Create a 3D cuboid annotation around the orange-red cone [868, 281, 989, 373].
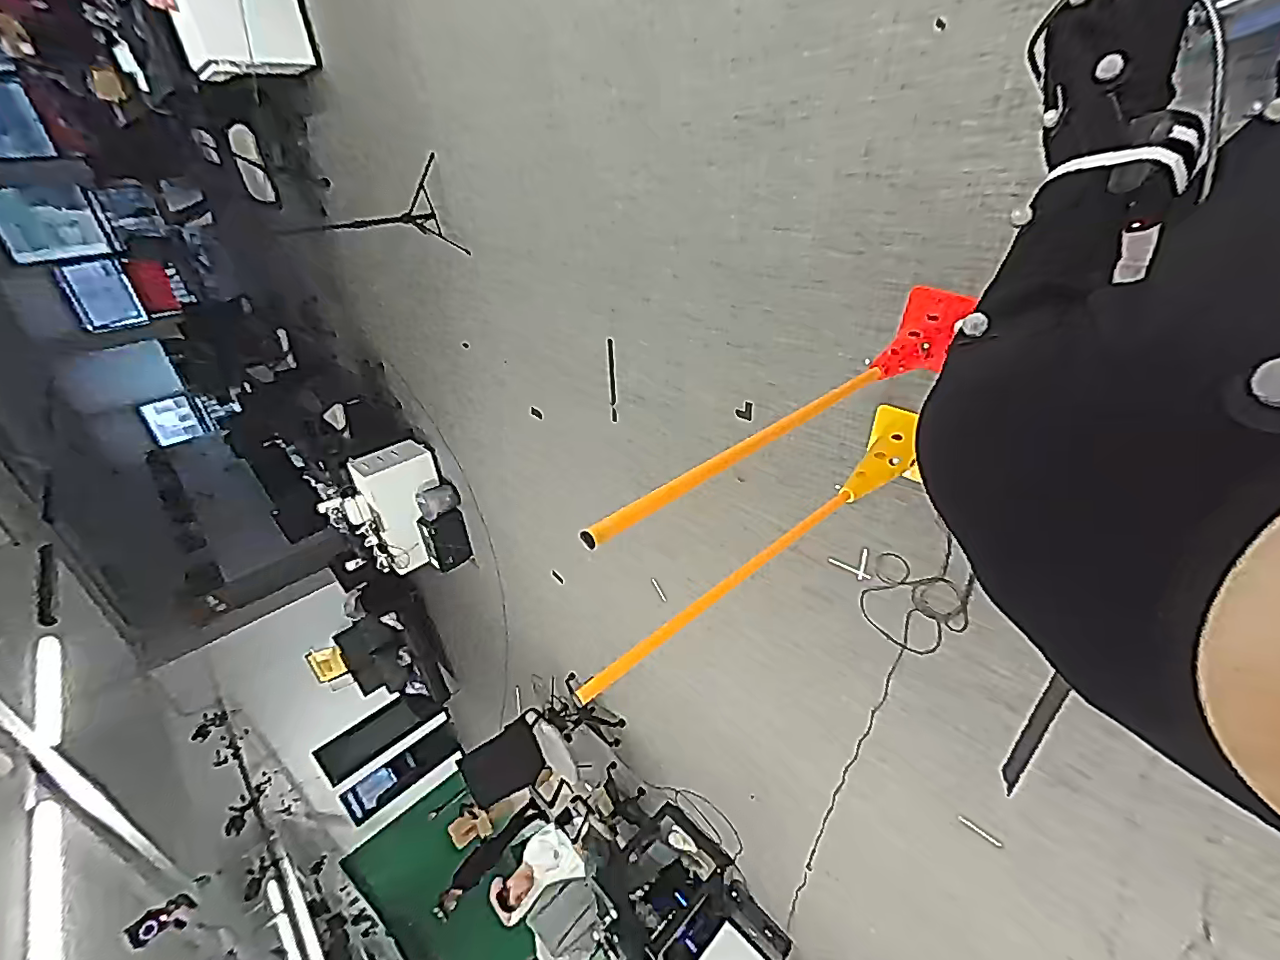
[{"bbox_3d":[0.629,-0.319,1.268,0.198,0.360,0.199,32,135,33],"label":"orange-red cone"}]
